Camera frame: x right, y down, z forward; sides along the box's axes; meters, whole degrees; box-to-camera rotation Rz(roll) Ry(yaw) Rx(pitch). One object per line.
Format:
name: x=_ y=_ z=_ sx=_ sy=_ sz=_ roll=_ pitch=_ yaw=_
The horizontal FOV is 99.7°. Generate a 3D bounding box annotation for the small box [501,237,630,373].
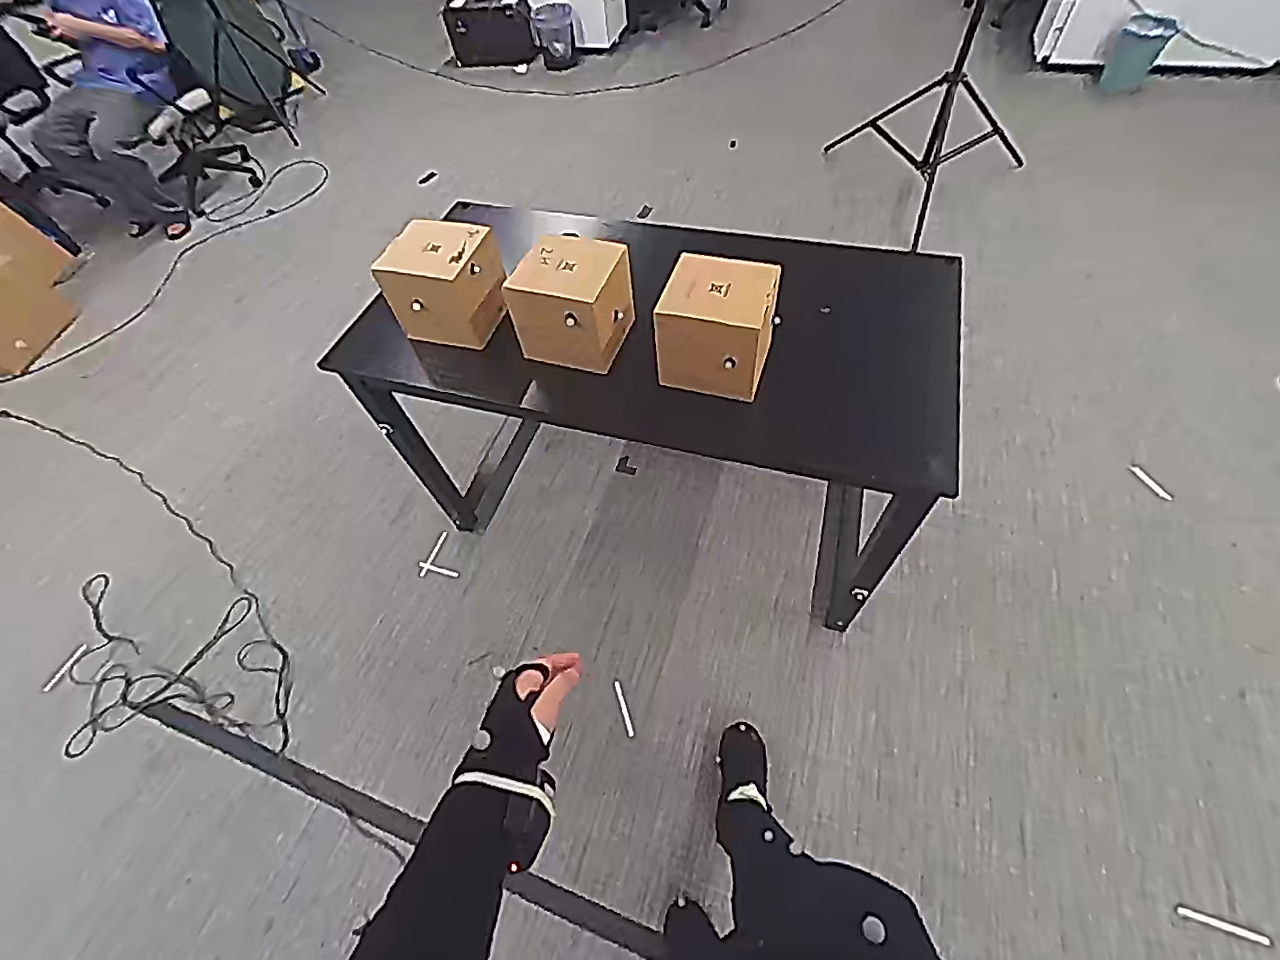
small box: x=-0.127 y=-0.324 z=1.015 sx=0.179 sy=0.176 sz=0.168 roll=14 pitch=58 yaw=15

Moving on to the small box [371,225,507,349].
small box: x=-0.386 y=-0.382 z=1.080 sx=0.179 sy=0.176 sz=0.168 roll=11 pitch=58 yaw=13

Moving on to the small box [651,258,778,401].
small box: x=0.131 y=-0.260 z=0.950 sx=0.179 sy=0.176 sz=0.168 roll=13 pitch=57 yaw=15
